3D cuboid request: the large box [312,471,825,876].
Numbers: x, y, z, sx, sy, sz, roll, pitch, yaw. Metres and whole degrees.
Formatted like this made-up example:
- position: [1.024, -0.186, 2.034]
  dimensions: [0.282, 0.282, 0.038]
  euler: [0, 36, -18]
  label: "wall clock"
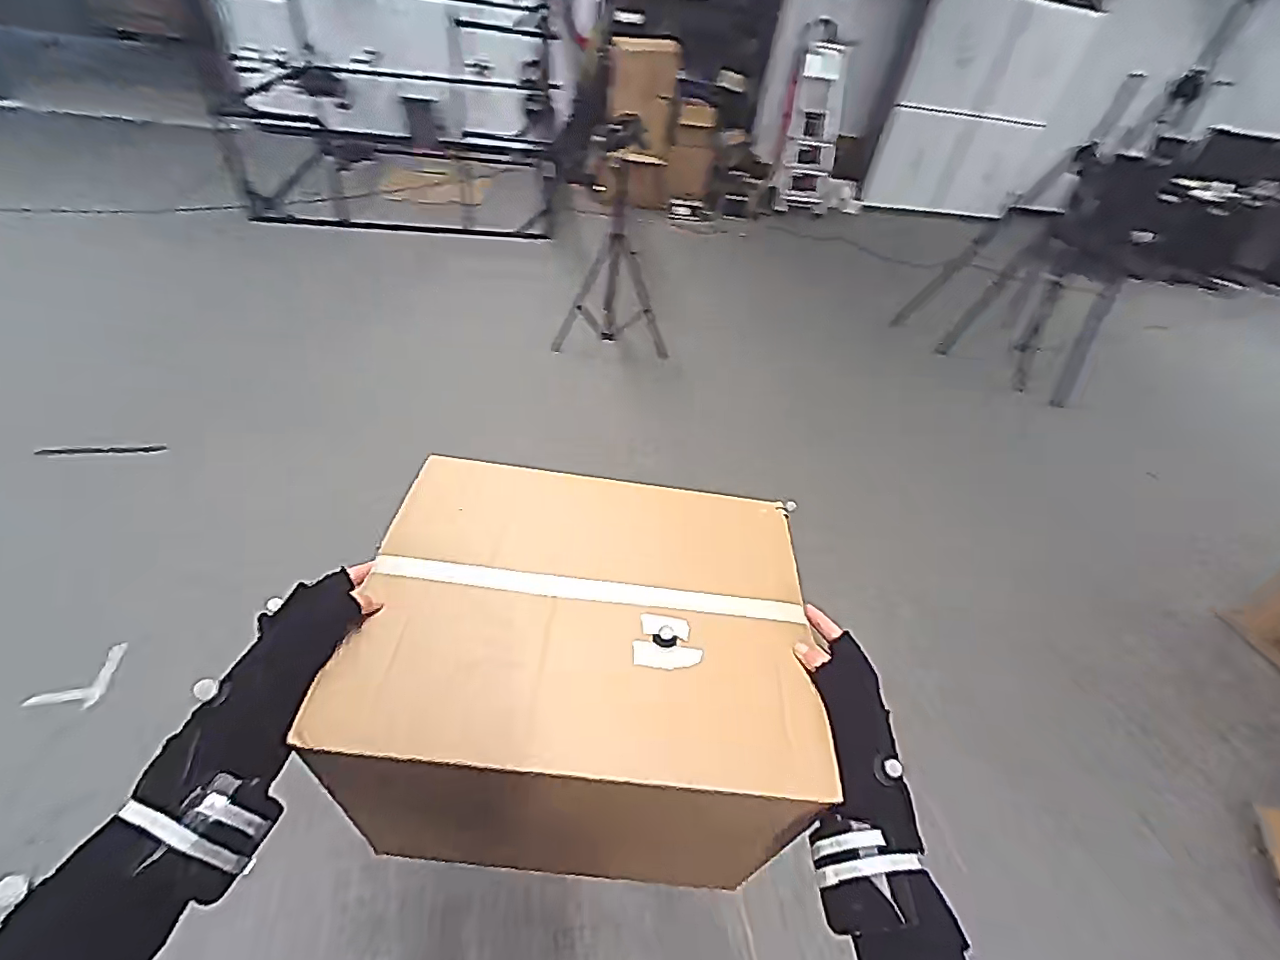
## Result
- position: [-0.067, 0.223, 0.619]
  dimensions: [0.408, 0.320, 0.320]
  euler: [8, 43, -4]
  label: "large box"
